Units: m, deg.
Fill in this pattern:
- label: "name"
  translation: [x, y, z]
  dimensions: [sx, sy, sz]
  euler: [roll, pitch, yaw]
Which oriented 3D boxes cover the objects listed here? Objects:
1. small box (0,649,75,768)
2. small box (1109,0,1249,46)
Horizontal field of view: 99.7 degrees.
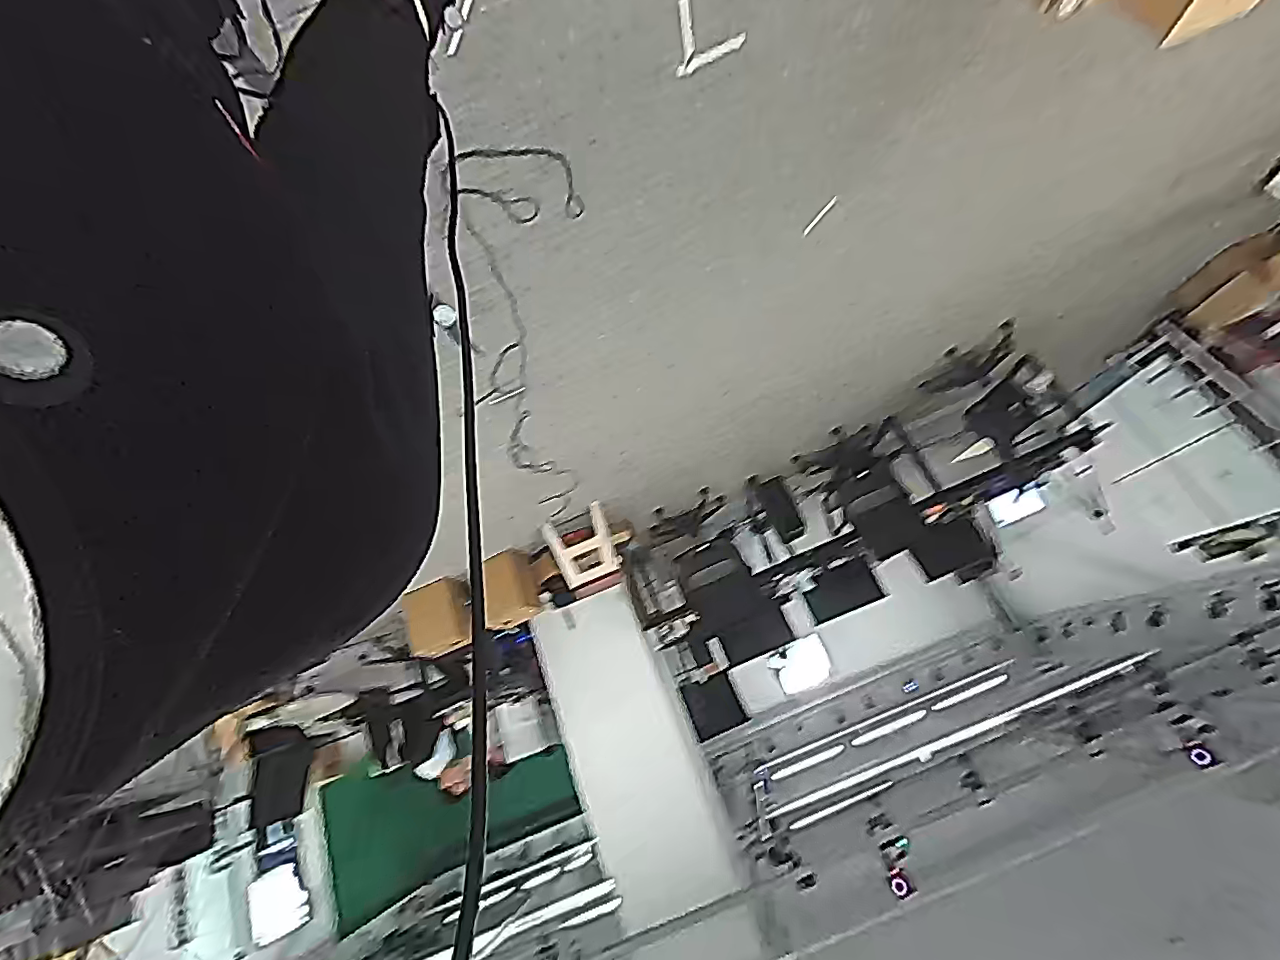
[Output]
- label: "small box"
  translation: [-1.200, 0.418, 0.985]
  dimensions: [0.168, 0.176, 0.179]
  euler: [-25, 155, 4]
- label: "small box"
  translation: [0.900, -0.863, 0.863]
  dimensions: [0.168, 0.176, 0.179]
  euler: [-22, 160, 2]
